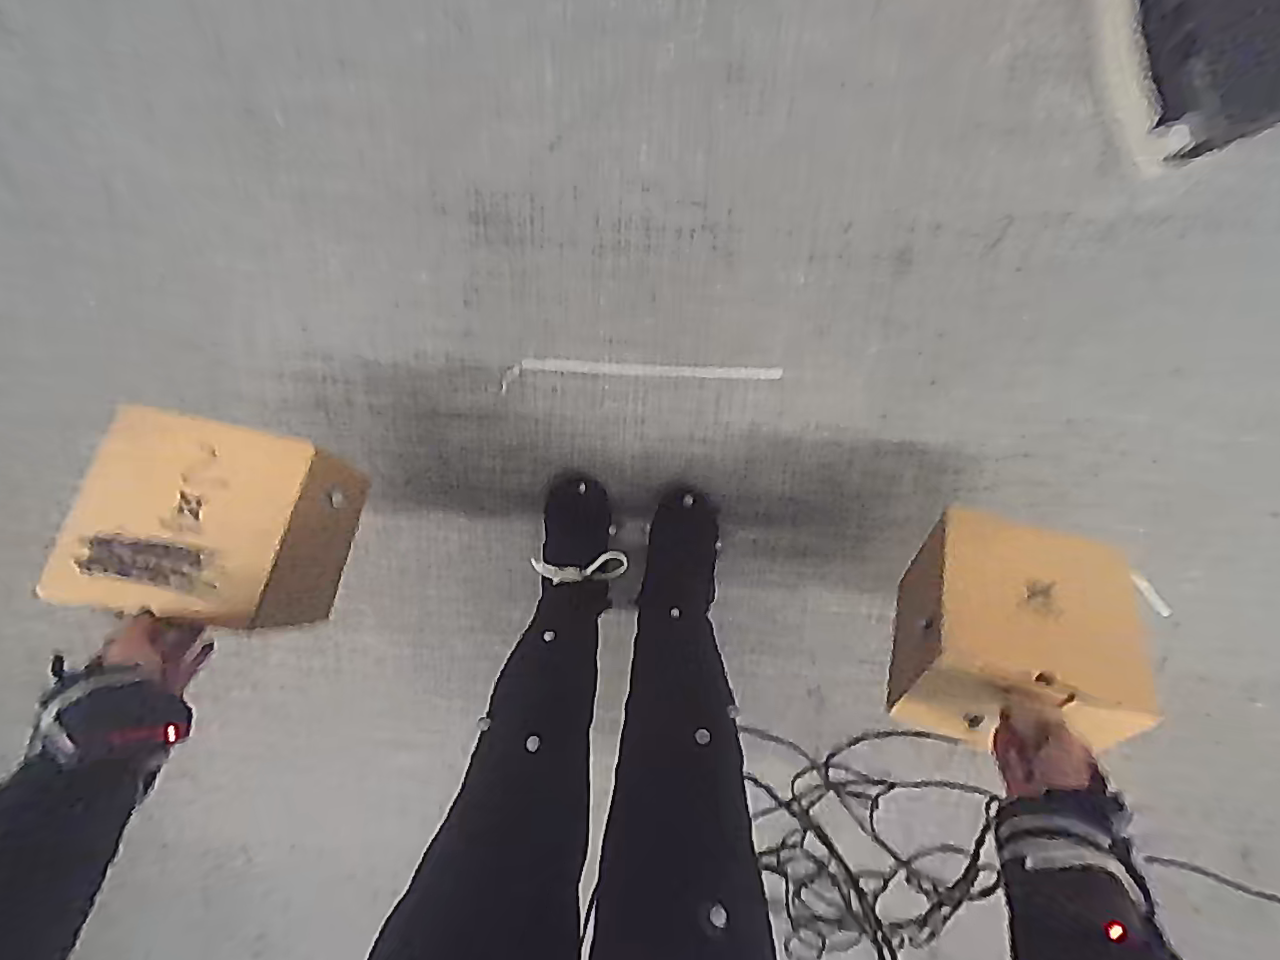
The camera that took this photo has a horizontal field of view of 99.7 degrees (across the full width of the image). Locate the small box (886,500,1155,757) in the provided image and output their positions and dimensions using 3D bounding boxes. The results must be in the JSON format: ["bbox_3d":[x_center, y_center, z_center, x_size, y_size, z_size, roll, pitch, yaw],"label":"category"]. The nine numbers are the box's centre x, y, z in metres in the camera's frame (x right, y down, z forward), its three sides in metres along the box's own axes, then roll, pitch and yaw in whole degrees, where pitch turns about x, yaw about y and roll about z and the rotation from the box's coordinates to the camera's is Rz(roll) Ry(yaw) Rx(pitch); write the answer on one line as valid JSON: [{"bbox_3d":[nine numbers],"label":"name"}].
[{"bbox_3d":[0.373,0.155,0.564,0.168,0.179,0.176,16,144,16],"label":"small box"}]
